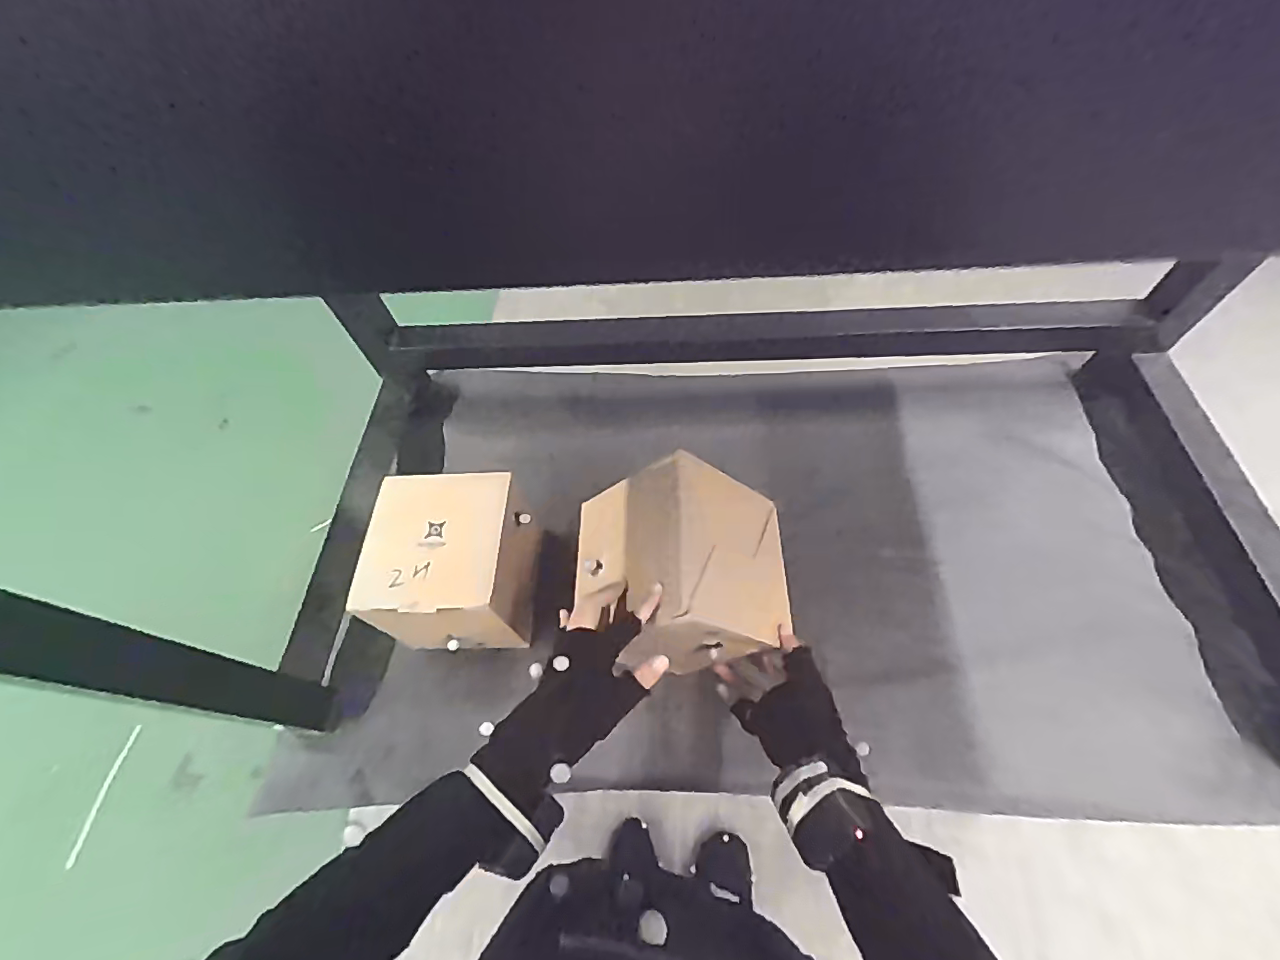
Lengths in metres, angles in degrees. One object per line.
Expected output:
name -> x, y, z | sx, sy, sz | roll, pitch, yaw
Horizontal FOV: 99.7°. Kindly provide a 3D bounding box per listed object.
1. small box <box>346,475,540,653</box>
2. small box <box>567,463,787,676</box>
small box -> -0.233, 0.111, 0.695 | 0.168, 0.176, 0.179 | -2, 57, 5
small box -> 0.042, 0.100, 0.594 | 0.176, 0.168, 0.179 | -29, 46, 37
